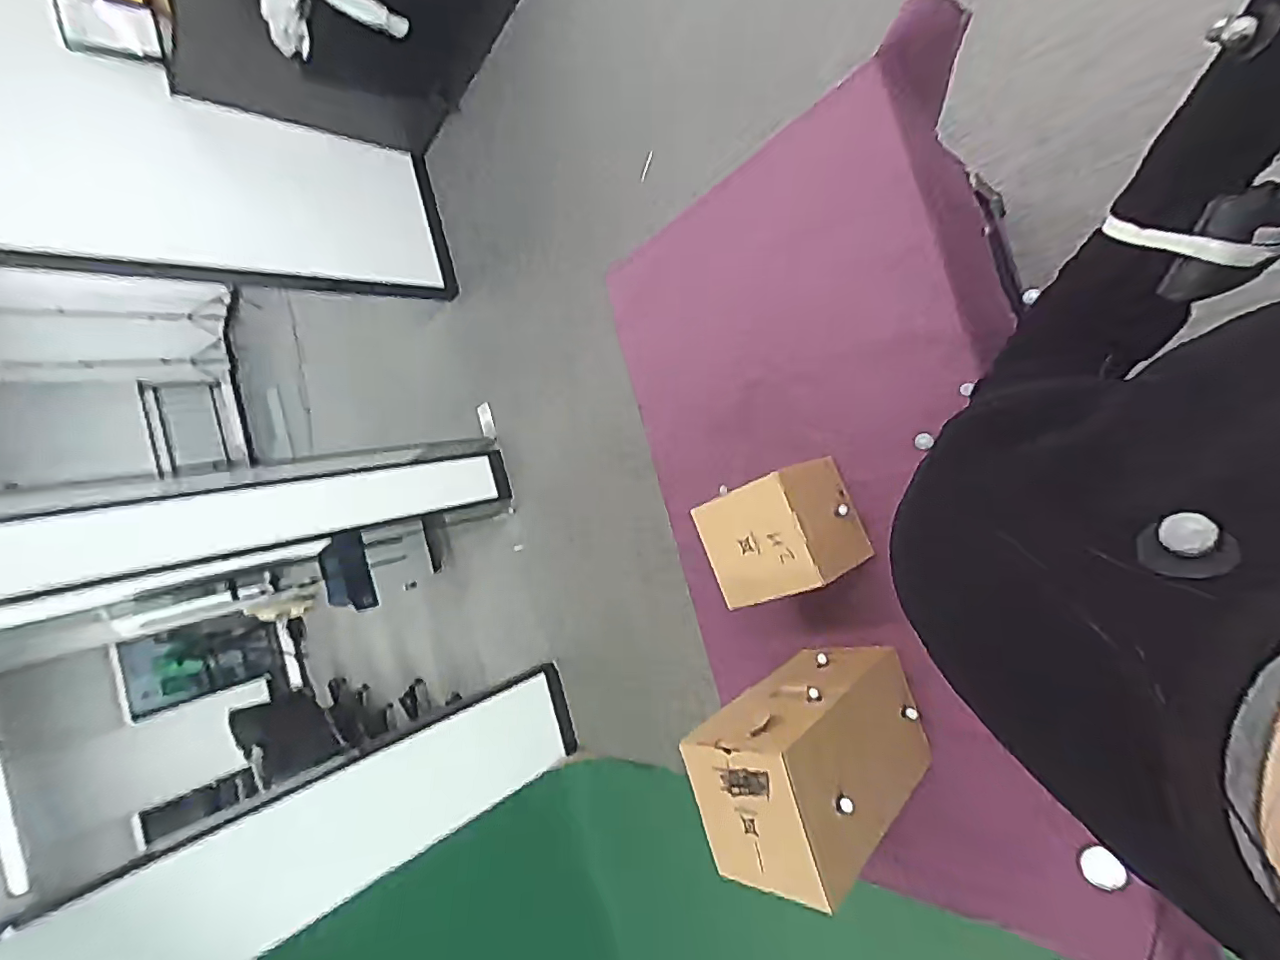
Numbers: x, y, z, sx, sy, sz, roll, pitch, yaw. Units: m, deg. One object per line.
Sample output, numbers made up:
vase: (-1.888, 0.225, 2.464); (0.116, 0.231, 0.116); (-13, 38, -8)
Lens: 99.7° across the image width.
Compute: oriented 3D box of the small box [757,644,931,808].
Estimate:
small box: (0.314, 0.360, 0.831); (0.168, 0.176, 0.179); (-23, 82, 47)

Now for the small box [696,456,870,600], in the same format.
small box: (0.226, 0.074, 0.856); (0.179, 0.176, 0.168); (-29, 79, 45)

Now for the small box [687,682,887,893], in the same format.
small box: (0.196, 0.385, 0.718); (0.168, 0.176, 0.179); (-22, 84, 46)
